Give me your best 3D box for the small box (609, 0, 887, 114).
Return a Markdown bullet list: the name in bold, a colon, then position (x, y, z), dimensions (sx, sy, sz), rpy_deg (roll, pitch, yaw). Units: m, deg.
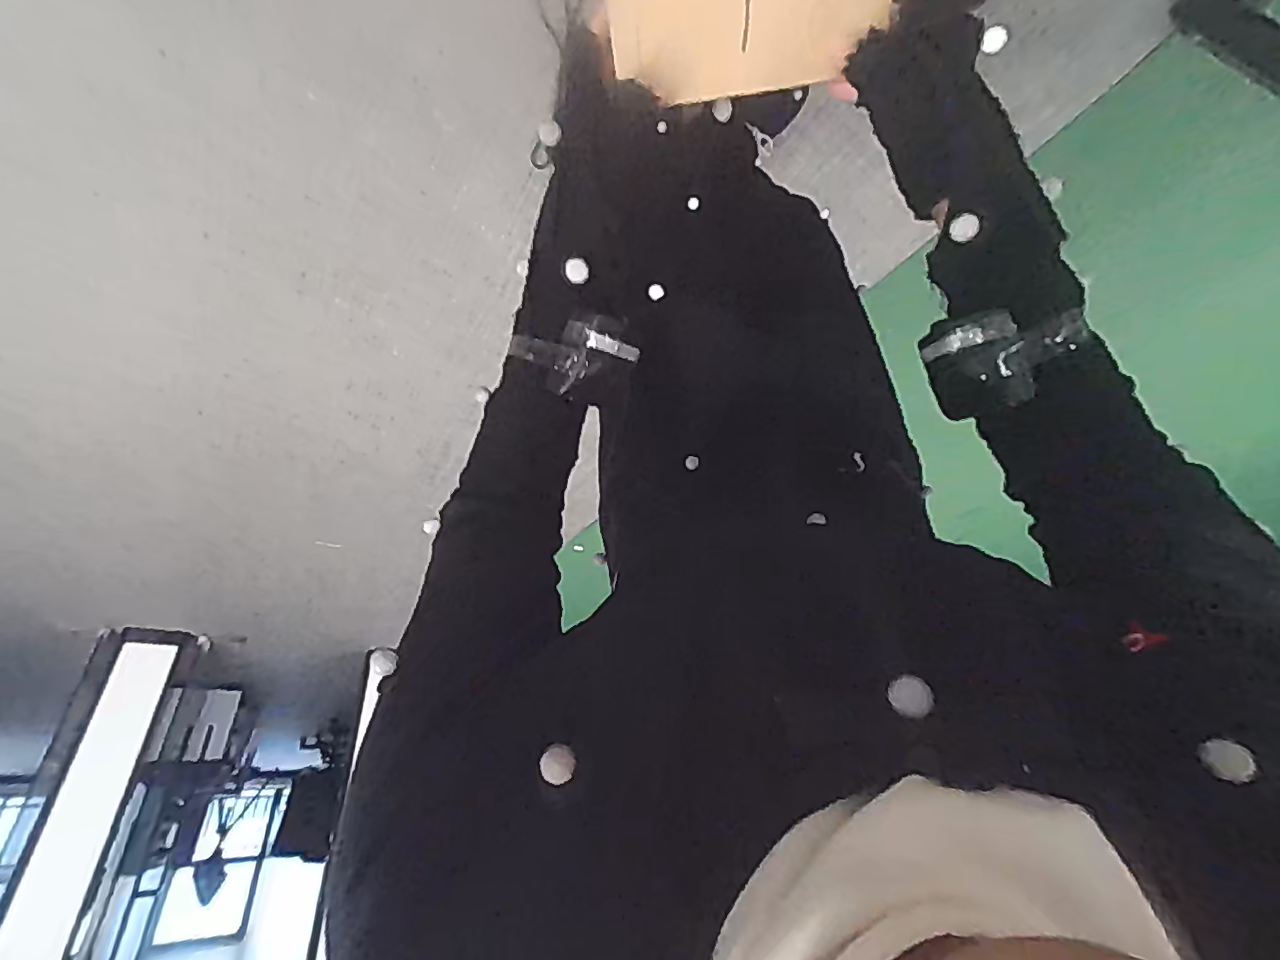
- **small box**: position (0.061, -0.360, 0.362), dimensions (0.168, 0.176, 0.179), rpy_deg (-4, 126, 6)
